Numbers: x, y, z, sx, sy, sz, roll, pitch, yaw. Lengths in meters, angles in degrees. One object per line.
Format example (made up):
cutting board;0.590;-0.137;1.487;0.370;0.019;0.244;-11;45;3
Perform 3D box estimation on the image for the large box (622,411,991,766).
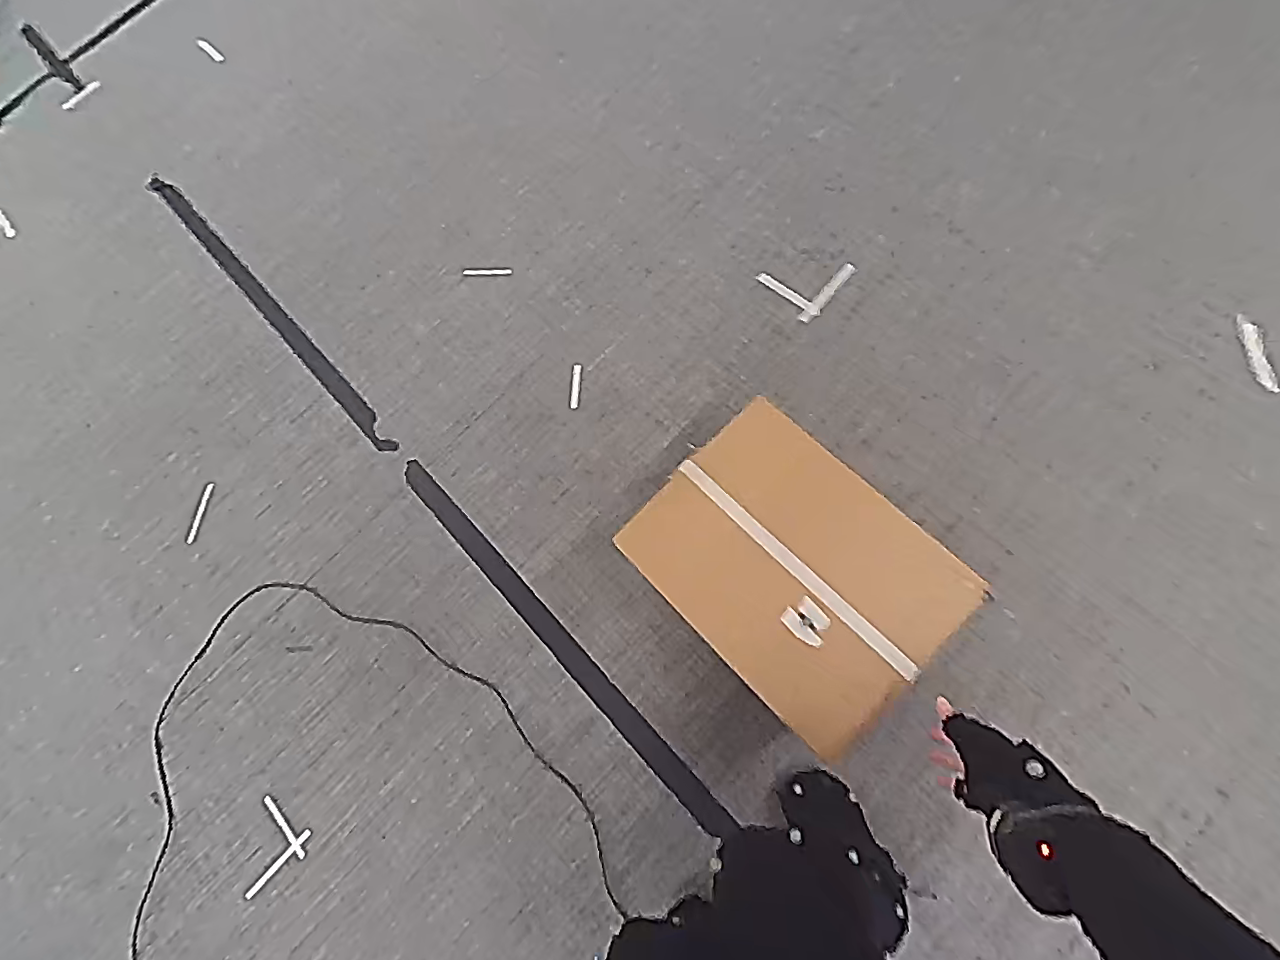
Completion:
large box;0.234;0.166;0.885;0.320;0.320;0.408;-45;73;-5
